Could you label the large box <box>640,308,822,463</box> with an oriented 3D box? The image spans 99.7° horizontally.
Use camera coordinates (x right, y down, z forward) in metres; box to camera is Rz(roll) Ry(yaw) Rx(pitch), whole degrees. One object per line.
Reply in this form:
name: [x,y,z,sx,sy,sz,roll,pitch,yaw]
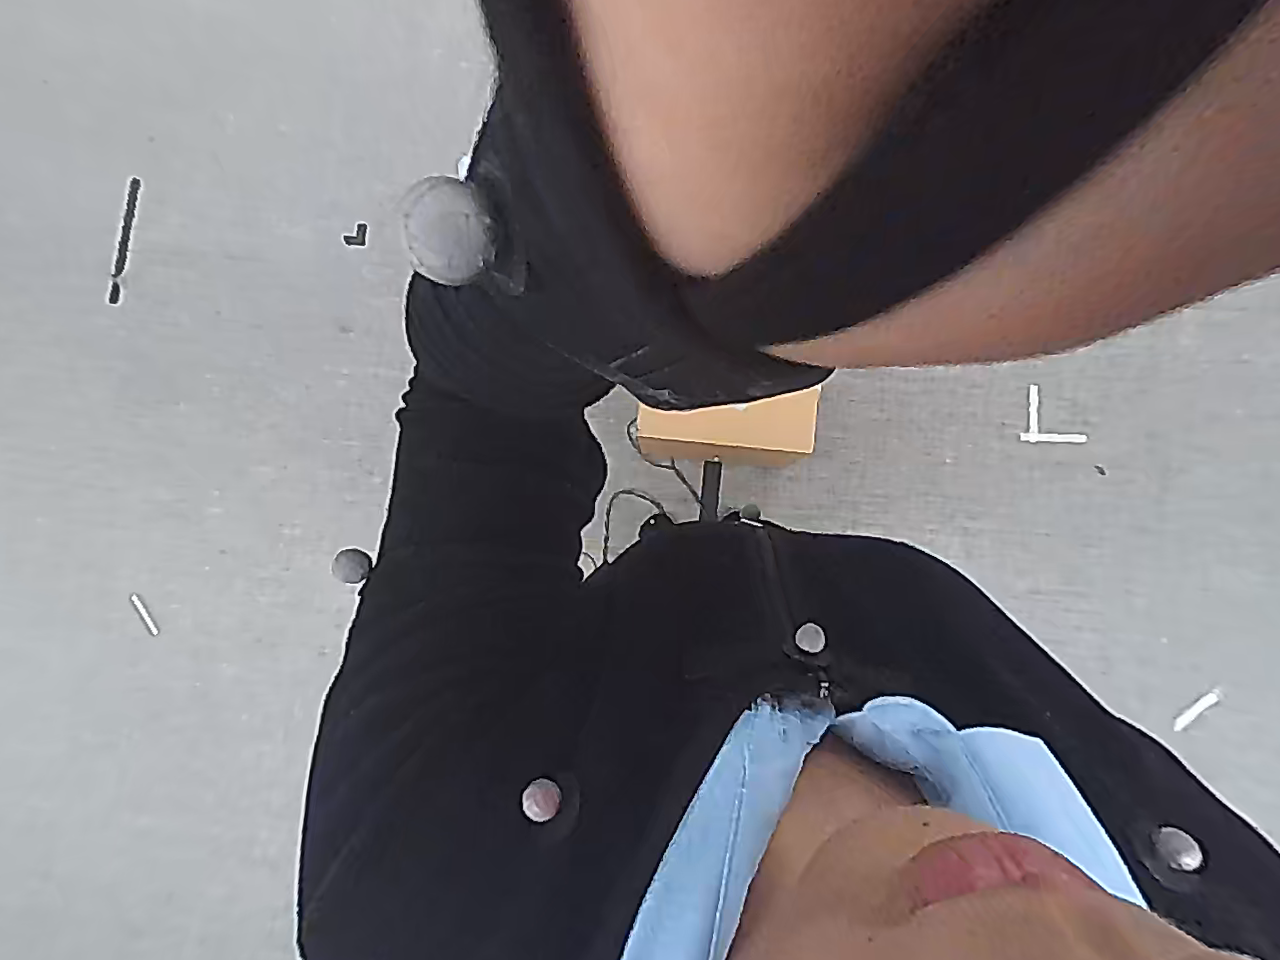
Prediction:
large box: [0.221,-0.224,1.389,0.408,0.320,0.320,6,84,4]
